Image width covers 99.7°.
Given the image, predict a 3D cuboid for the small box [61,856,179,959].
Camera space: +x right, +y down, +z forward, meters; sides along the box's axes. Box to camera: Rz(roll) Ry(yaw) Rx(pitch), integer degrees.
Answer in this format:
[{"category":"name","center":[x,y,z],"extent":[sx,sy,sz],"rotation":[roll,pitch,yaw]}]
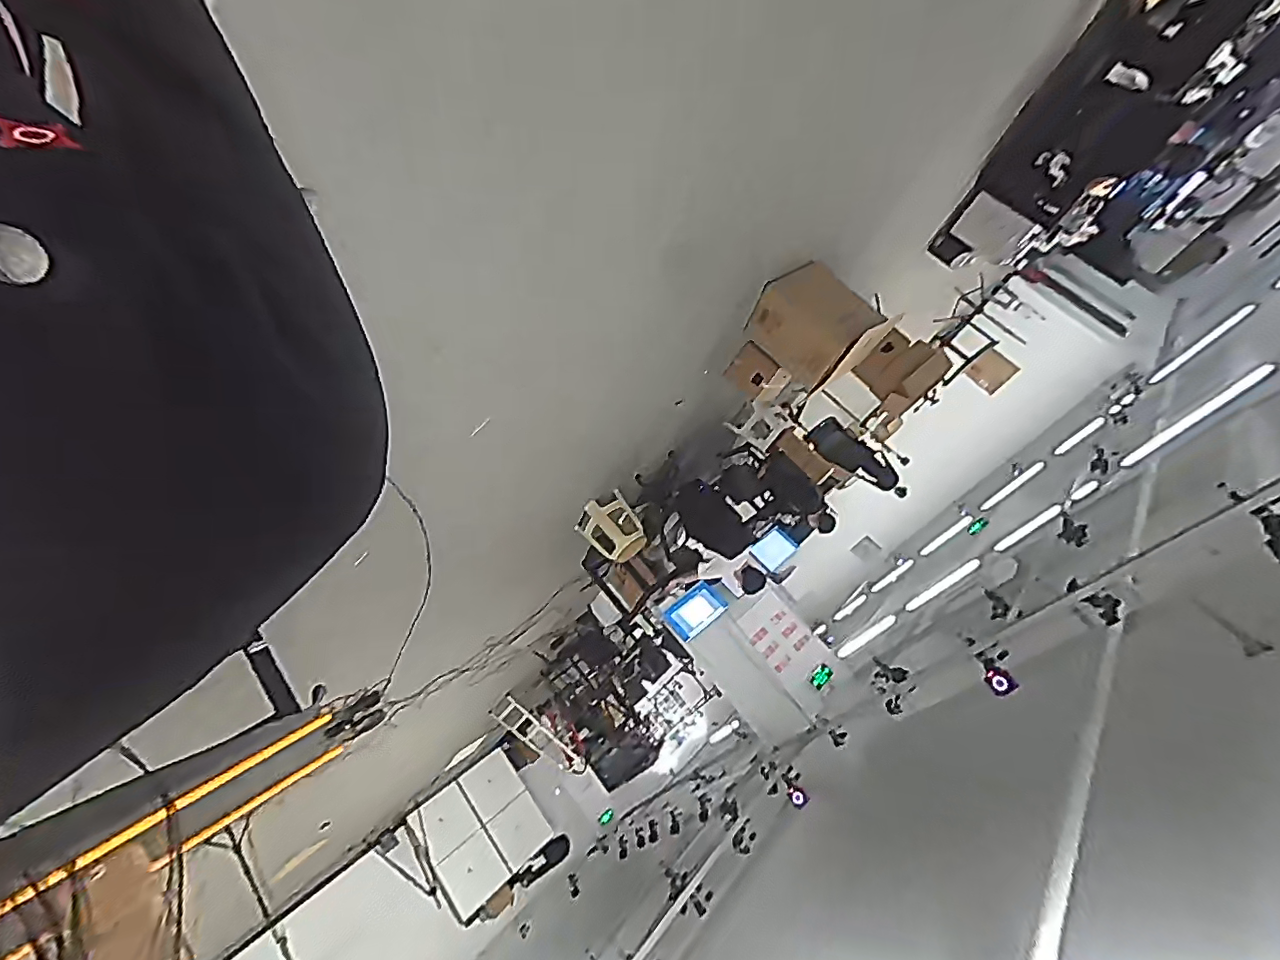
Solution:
[{"category":"small box","center":[-1.388,1.152,1.450],"extent":[0.168,0.176,0.179],"rotation":[-29,156,-39]}]

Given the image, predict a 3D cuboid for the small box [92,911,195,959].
[{"category":"small box","center":[-1.282,1.268,1.401],"extent":[0.168,0.176,0.179],"rotation":[-27,155,-43]}]
